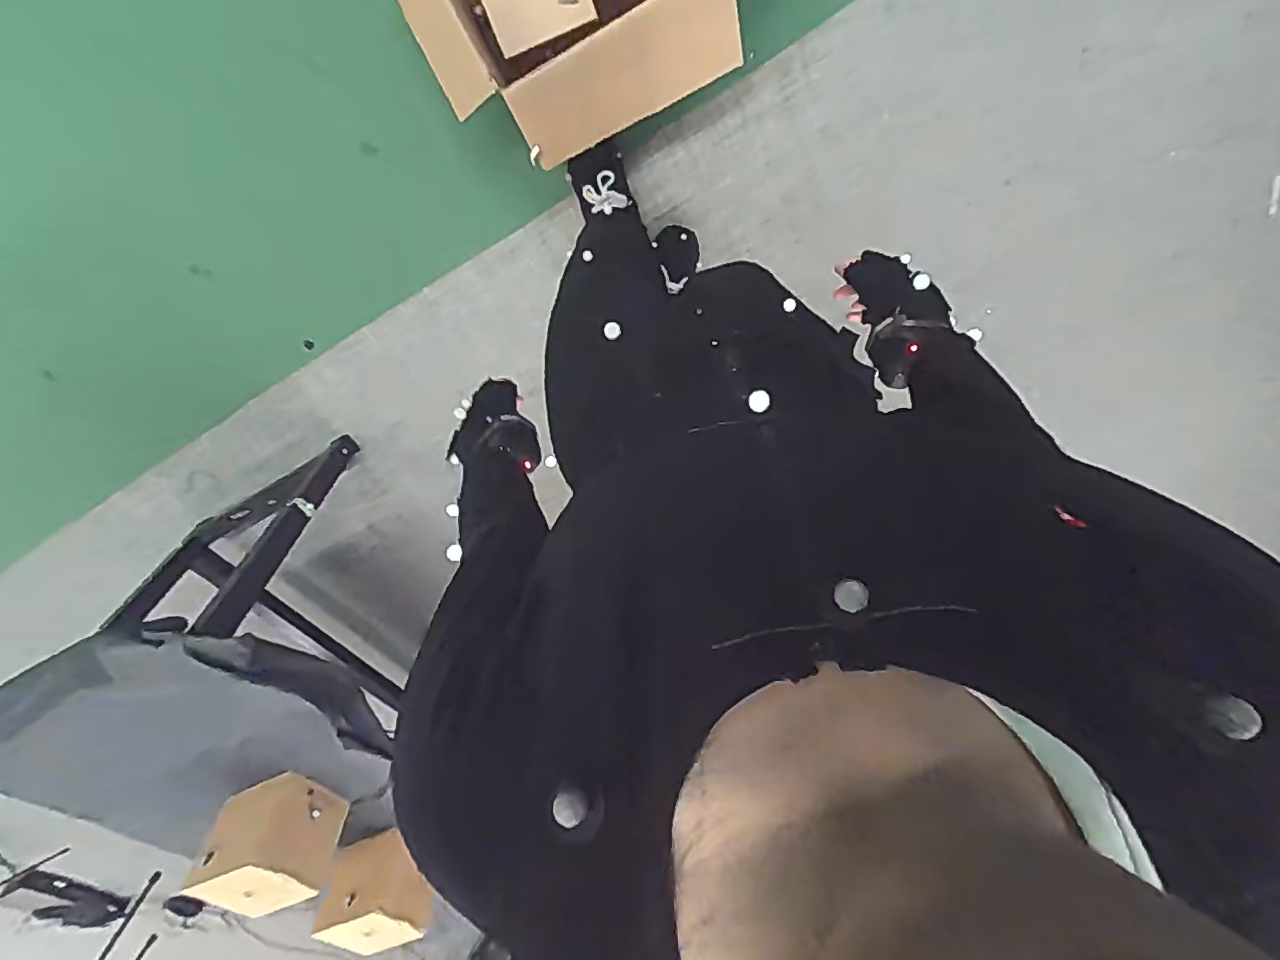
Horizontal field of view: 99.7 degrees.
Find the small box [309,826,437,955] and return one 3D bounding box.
[{"bbox_3d":[-0.587,0.919,1.216,0.179,0.176,0.168,-26,122,10],"label":"small box"}]

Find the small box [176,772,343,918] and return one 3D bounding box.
[{"bbox_3d":[-0.726,0.710,1.056,0.179,0.176,0.168,-26,123,10],"label":"small box"}]
